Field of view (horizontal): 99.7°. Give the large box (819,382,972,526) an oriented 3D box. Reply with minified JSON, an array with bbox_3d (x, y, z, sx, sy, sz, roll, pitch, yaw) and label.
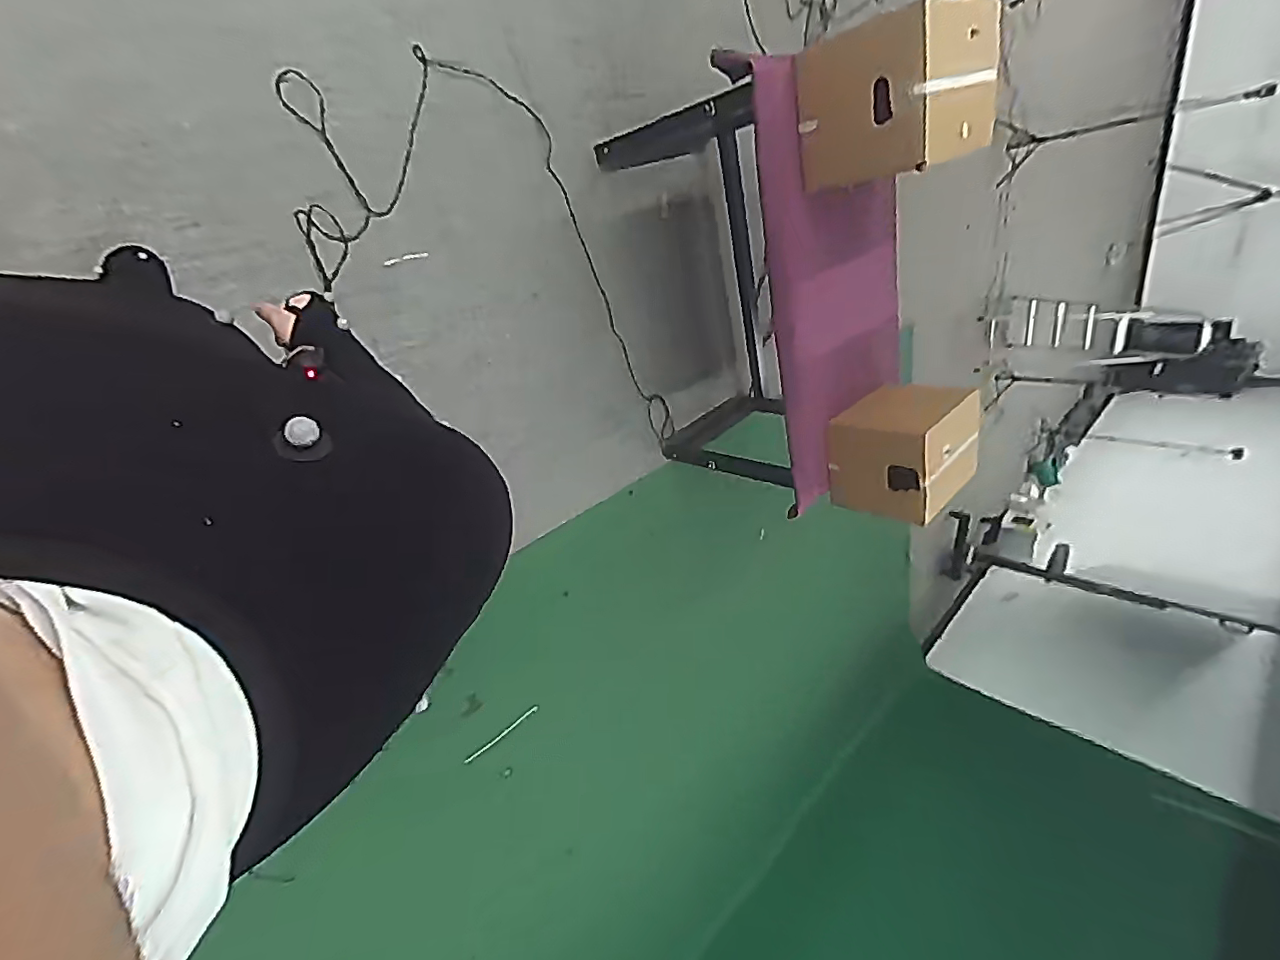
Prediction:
[{"bbox_3d":[0.850,-0.108,1.797,0.408,0.320,0.320,-30,119,-32],"label":"large box"}]
